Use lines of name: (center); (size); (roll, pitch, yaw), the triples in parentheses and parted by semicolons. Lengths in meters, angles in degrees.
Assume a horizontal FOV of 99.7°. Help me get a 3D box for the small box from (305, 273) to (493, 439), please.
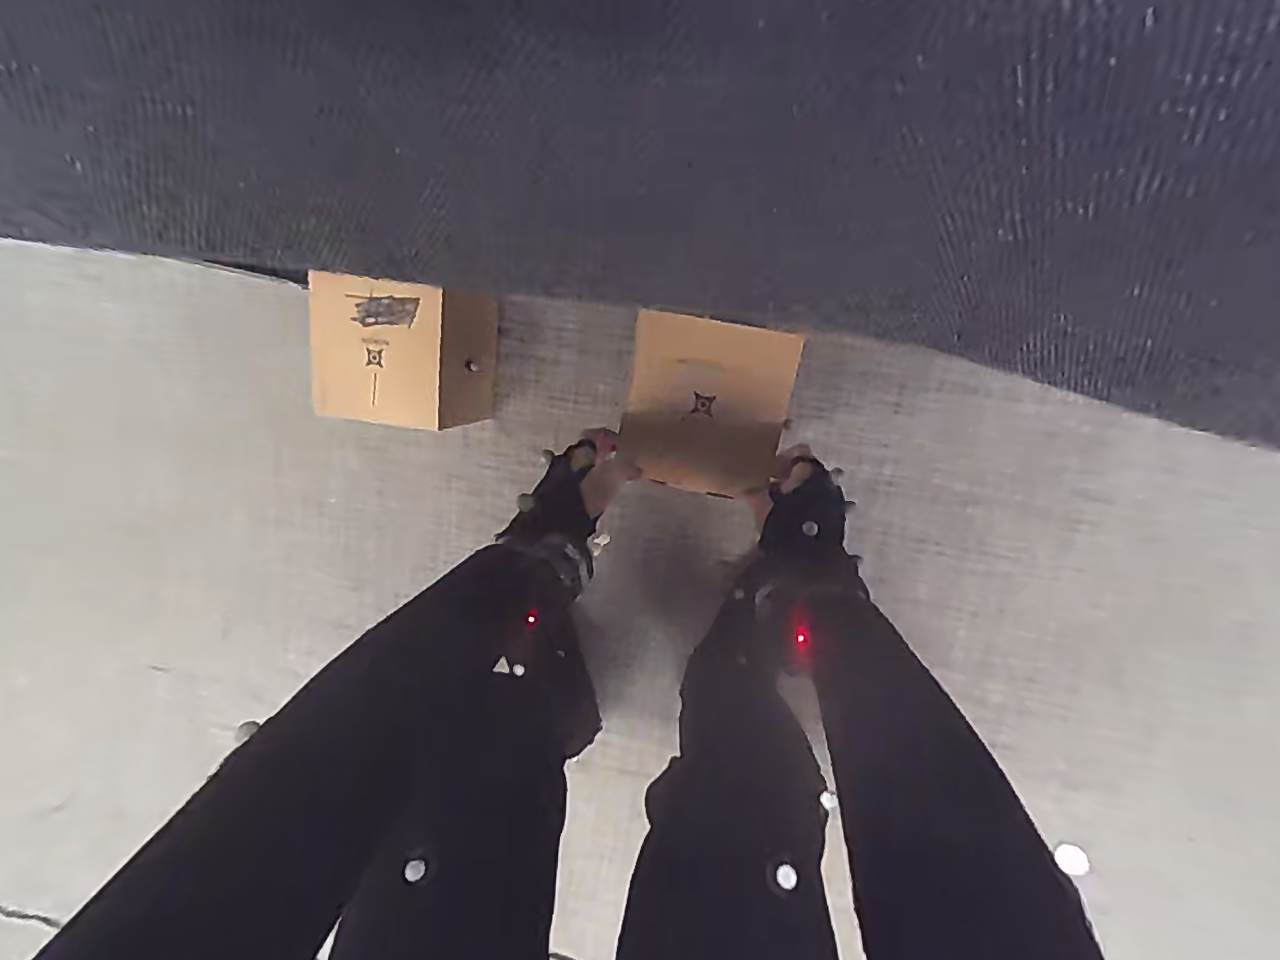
small box: (-0.302, -0.158, 0.705); (0.168, 0.176, 0.179); (7, 102, 6)
